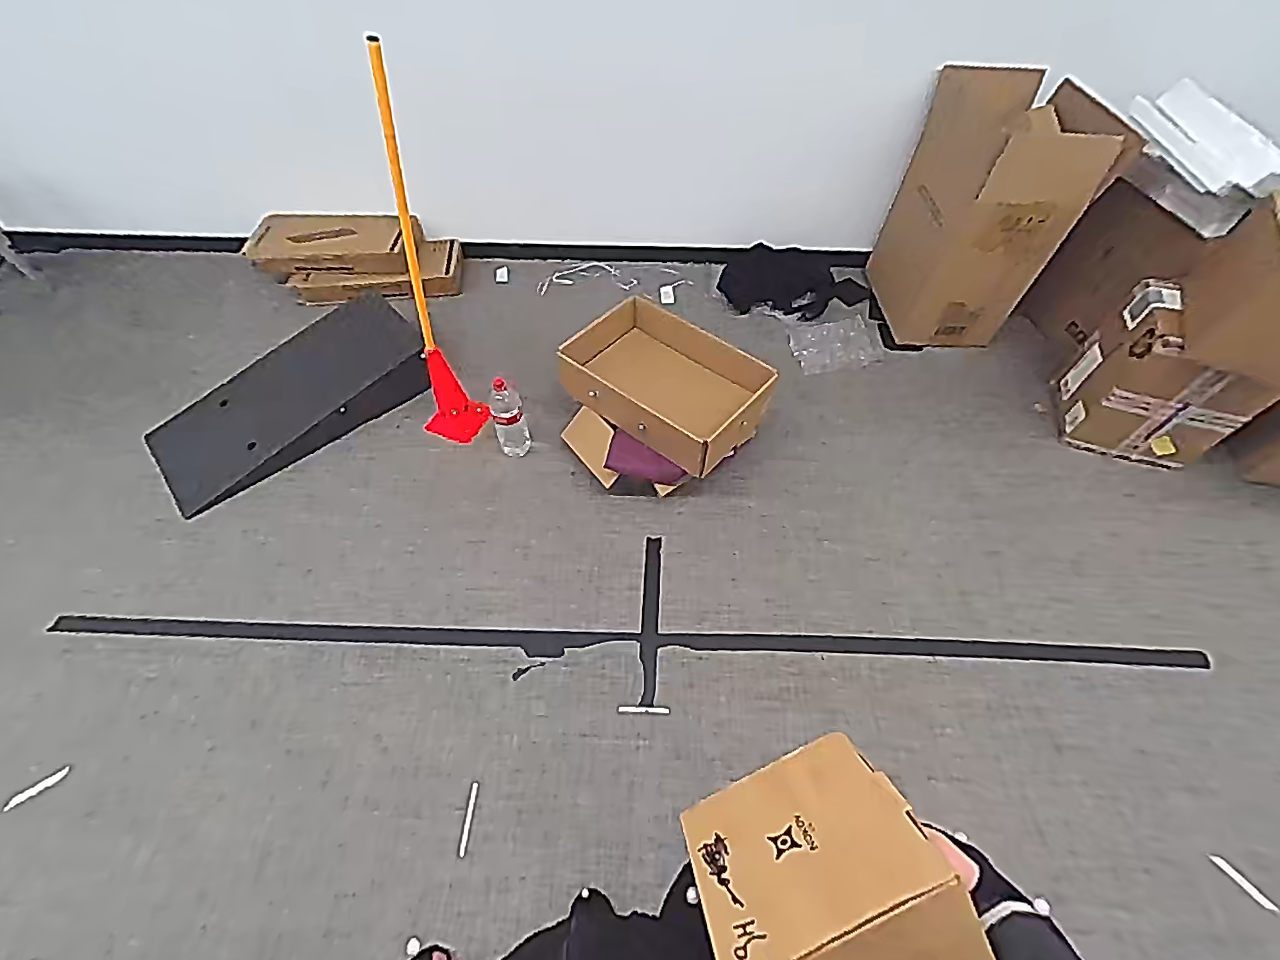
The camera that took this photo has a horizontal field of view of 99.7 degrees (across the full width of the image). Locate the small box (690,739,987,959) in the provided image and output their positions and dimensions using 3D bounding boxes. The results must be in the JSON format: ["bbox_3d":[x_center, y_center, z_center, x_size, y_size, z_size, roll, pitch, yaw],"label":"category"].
[{"bbox_3d":[0.166,0.371,0.459,0.179,0.168,0.176,-25,98,-3],"label":"small box"}]
